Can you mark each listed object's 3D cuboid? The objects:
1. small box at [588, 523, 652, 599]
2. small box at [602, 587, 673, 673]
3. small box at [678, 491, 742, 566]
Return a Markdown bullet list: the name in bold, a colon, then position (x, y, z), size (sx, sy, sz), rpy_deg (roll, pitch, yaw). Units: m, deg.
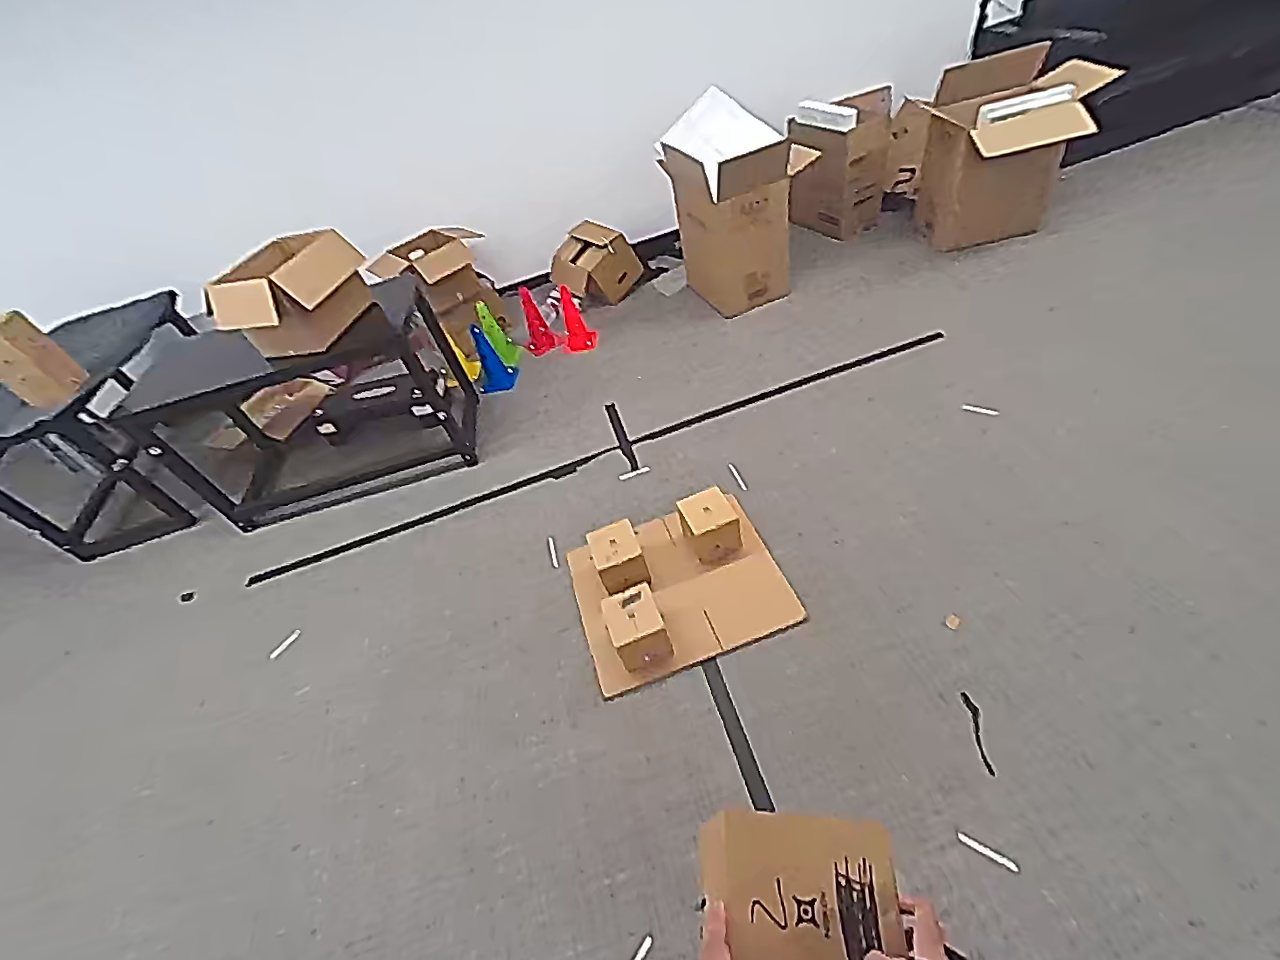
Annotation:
- **small box**: position (-0.071, 0.289, 1.922), size (0.168, 0.176, 0.179), rpy_deg (-21, 45, -3)
- **small box**: position (-0.007, 0.479, 1.719), size (0.168, 0.176, 0.179), rpy_deg (-22, 46, -4)
- **small box**: position (0.252, 0.176, 1.946), size (0.168, 0.176, 0.179), rpy_deg (-23, 45, -6)
